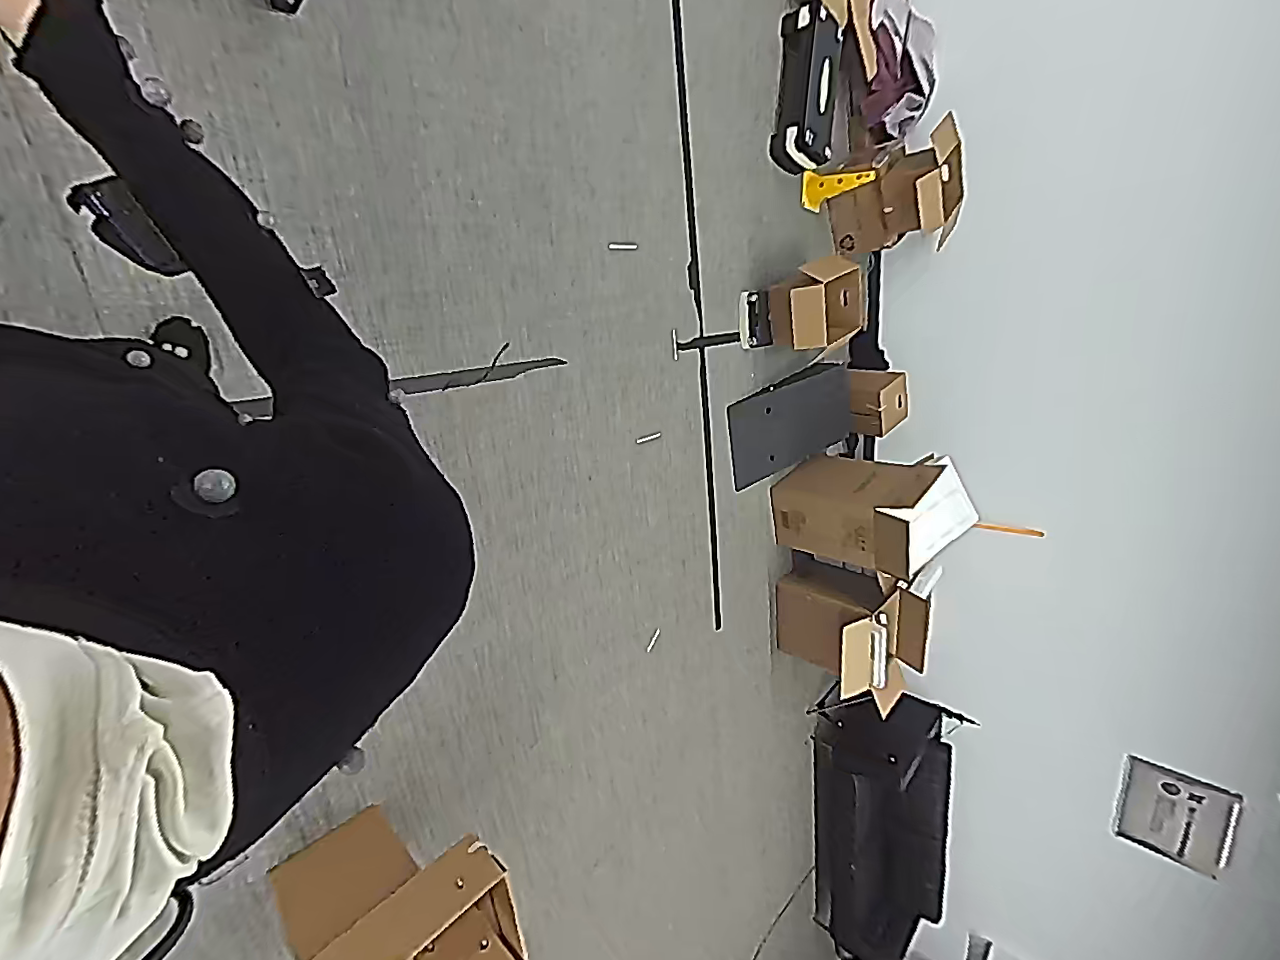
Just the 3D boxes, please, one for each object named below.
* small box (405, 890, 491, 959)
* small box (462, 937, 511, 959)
[{"bbox_3d":[-0.509,1.276,1.455,0.179,0.176,0.168,-29,119,-41],"label":"small box"},{"bbox_3d":[-0.387,1.305,1.349,0.168,0.176,0.179,-27,119,-41],"label":"small box"}]
